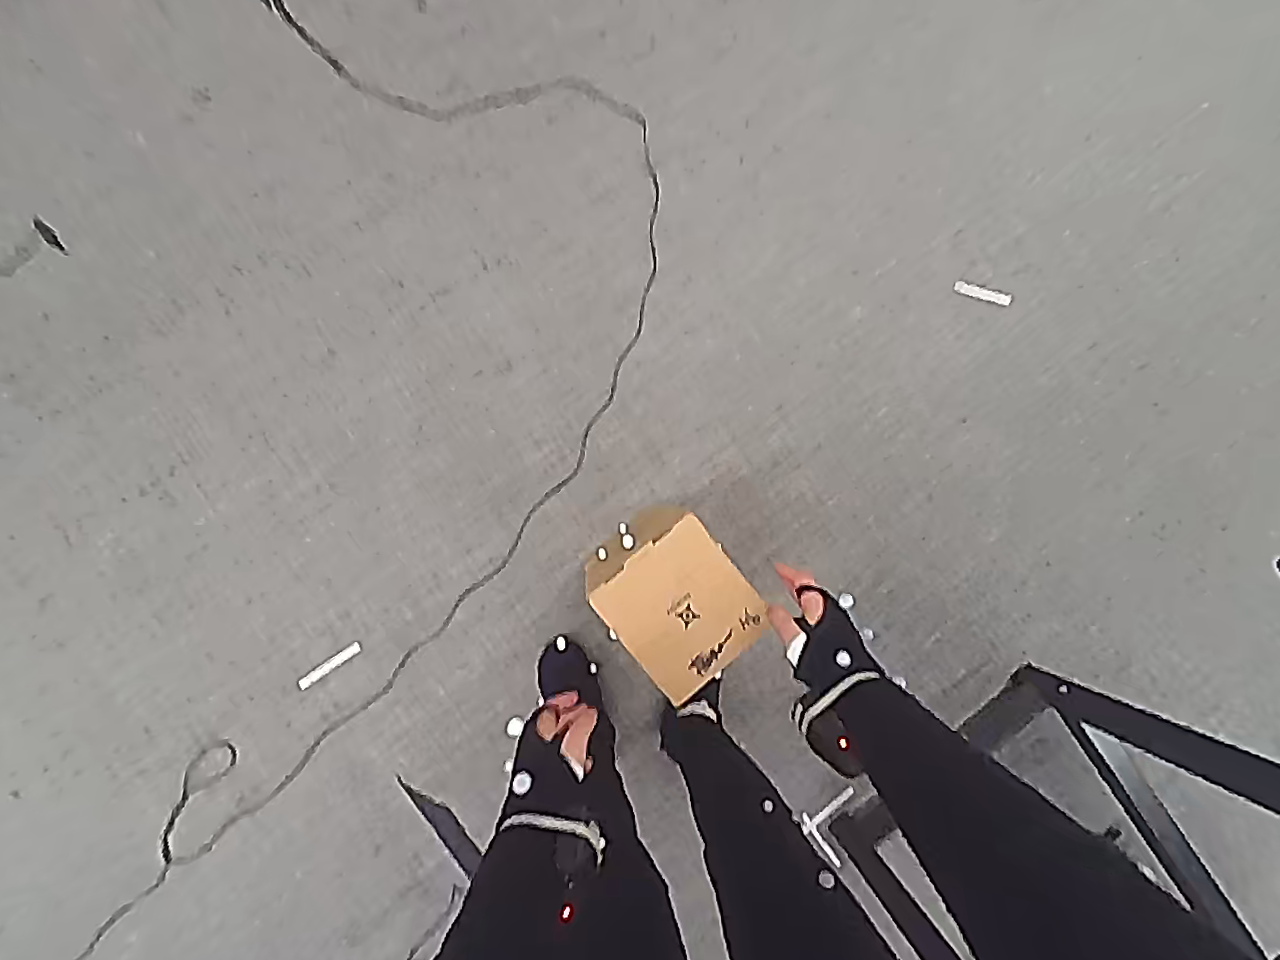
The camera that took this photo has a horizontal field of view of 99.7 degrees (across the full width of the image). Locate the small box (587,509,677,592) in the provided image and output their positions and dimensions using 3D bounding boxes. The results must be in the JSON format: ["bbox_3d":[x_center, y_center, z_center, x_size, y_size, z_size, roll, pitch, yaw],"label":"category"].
[{"bbox_3d":[0.029,0.164,0.899,0.179,0.176,0.168,-43,93,-7],"label":"small box"}]

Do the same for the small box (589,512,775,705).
[{"bbox_3d":[0.045,0.161,0.735,0.168,0.176,0.179,-39,92,-5],"label":"small box"}]
